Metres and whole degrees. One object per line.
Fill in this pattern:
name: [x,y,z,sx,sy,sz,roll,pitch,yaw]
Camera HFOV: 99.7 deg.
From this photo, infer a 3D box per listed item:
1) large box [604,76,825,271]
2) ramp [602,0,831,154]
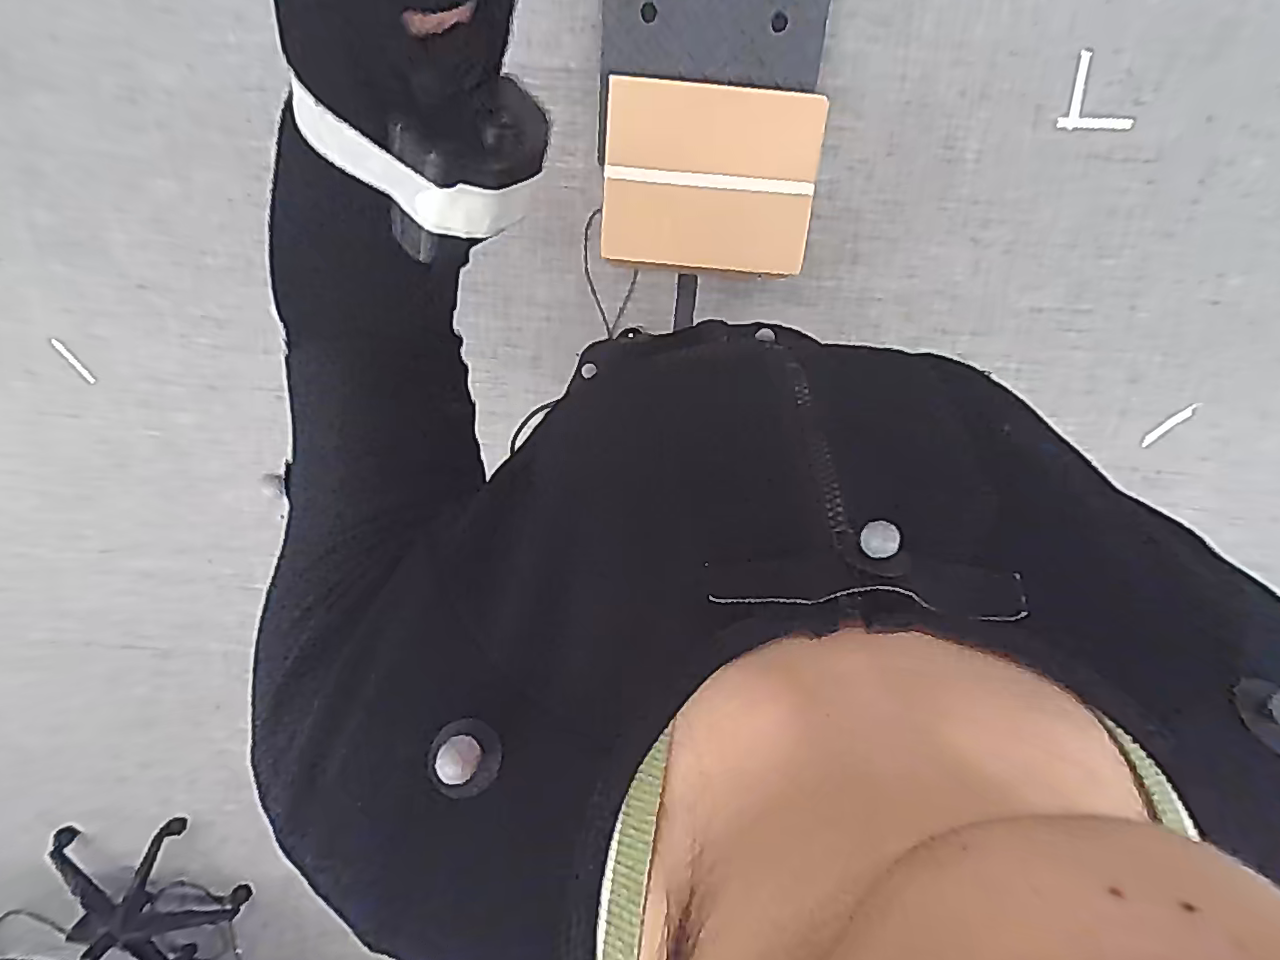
large box: [0.140,-0.635,1.181,0.408,0.320,0.320,5,109,0]
ramp: [0.182,-1.217,1.091,0.509,0.206,0.991,2,106,-1]
